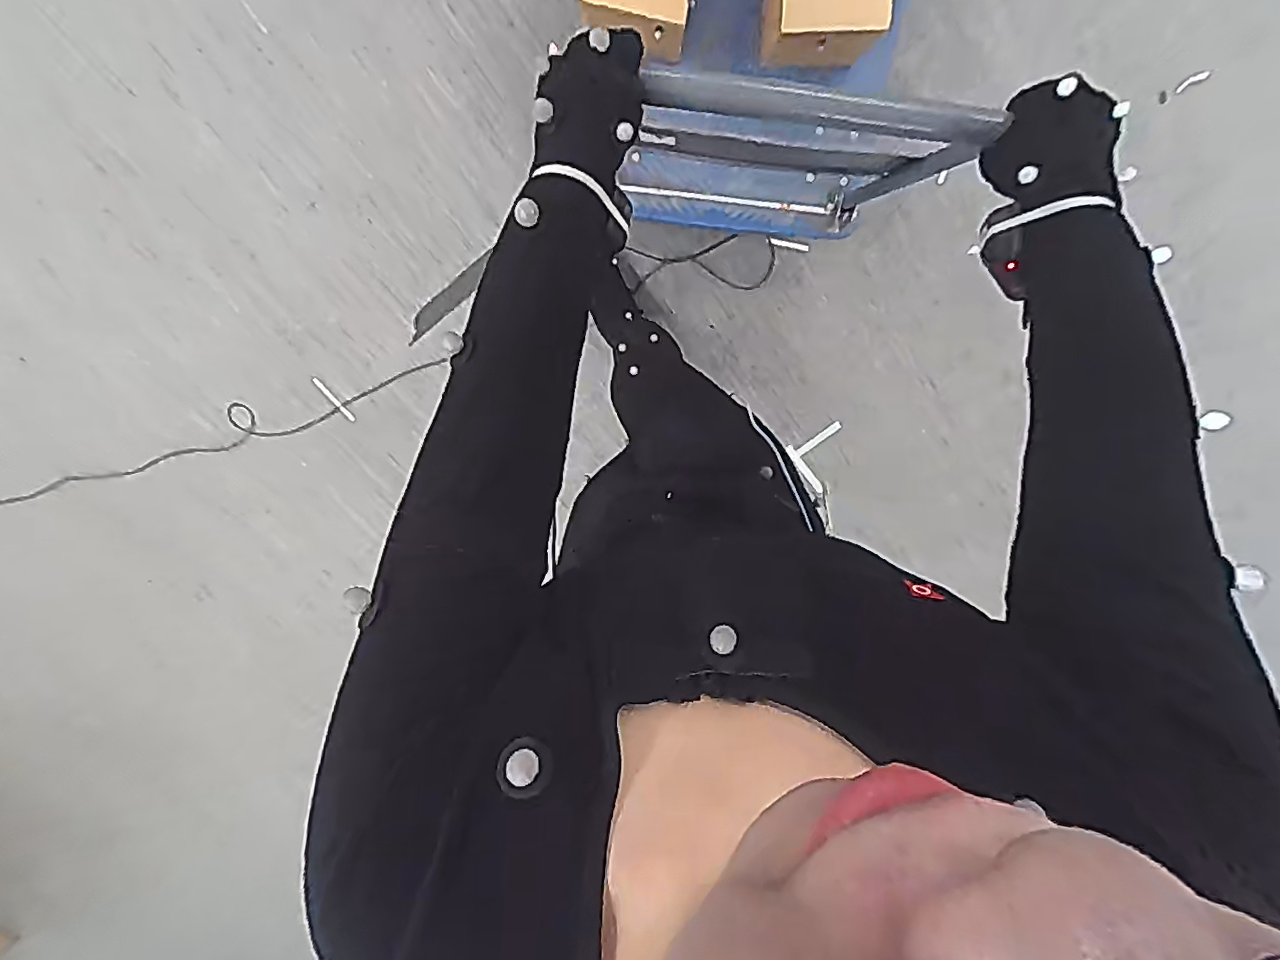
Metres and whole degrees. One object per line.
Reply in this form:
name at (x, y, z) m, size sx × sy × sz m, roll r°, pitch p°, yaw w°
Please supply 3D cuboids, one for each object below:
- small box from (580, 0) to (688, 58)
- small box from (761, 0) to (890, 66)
small box at (-0.003, -0.837, 0.894) m, size 0.179 × 0.176 × 0.168 m, roll 10°, pitch 111°, yaw -6°
small box at (0.305, -0.815, 0.900) m, size 0.179 × 0.176 × 0.168 m, roll 0°, pitch 113°, yaw 1°
